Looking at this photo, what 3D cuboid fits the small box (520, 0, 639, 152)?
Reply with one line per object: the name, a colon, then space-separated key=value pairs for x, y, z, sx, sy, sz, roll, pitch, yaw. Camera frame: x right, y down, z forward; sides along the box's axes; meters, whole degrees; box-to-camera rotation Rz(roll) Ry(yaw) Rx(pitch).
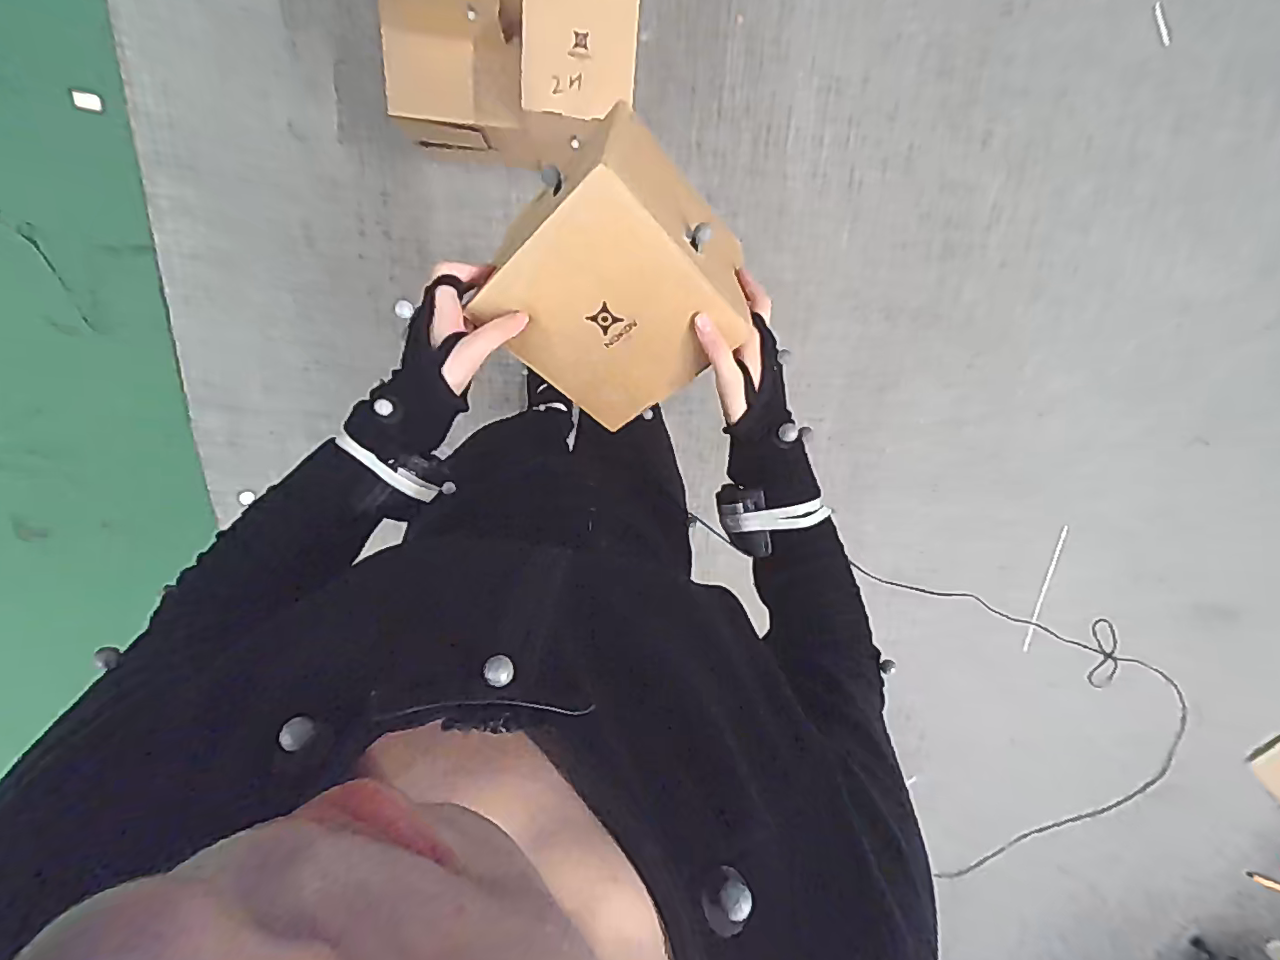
small box: x=-0.100 y=-0.650 z=0.858 sx=0.168 sy=0.176 sz=0.179 roll=3 pitch=109 yaw=-9
